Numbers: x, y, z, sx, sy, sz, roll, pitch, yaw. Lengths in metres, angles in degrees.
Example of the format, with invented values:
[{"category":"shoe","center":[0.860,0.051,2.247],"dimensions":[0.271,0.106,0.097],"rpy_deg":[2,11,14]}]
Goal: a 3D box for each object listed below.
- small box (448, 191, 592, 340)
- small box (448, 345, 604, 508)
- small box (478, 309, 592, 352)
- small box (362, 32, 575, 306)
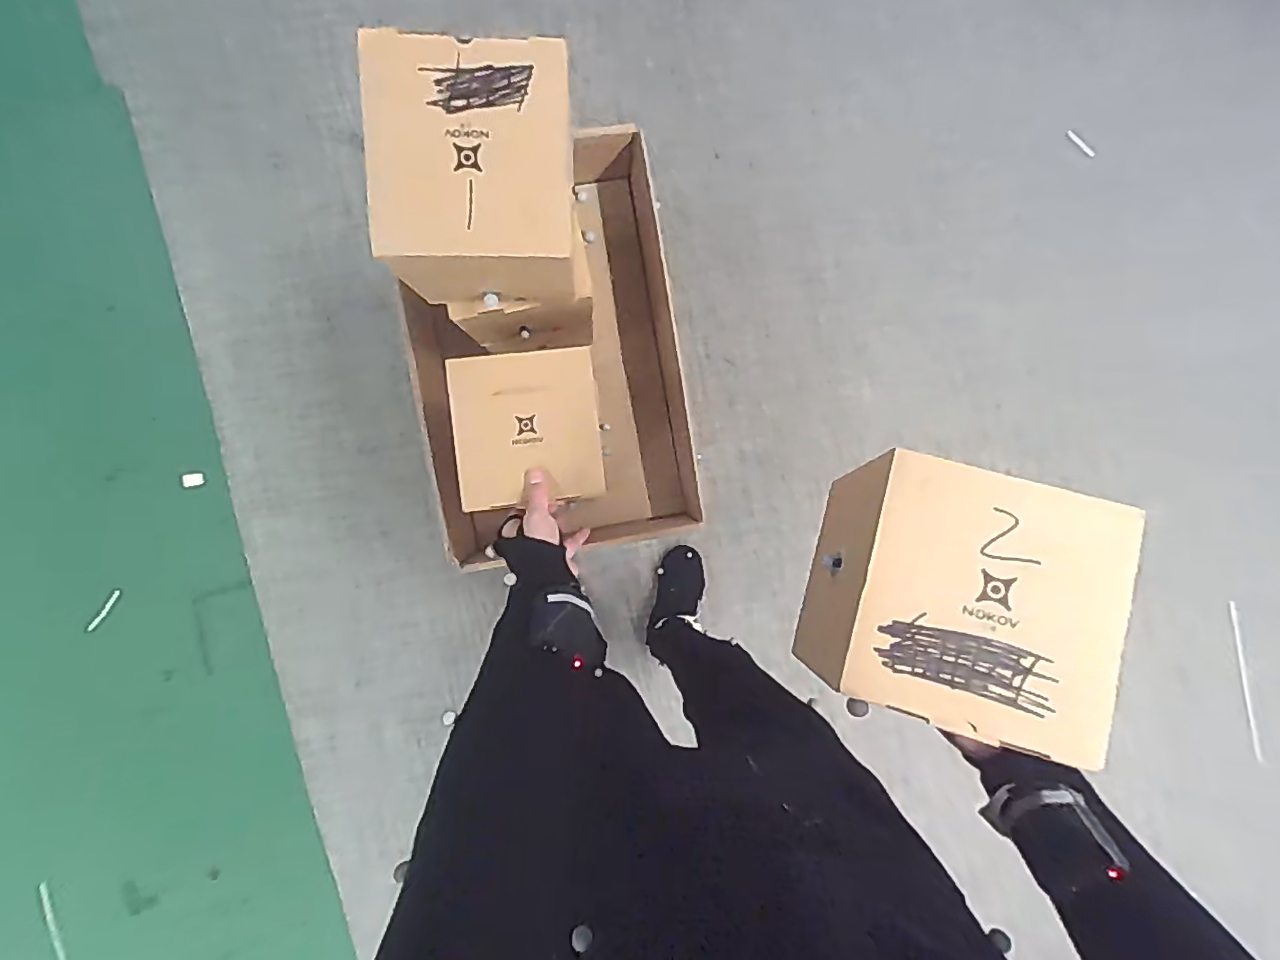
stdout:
[{"category":"small box","center":[-0.159,-0.290,0.688],"dimensions":[0.168,0.176,0.179],"rpy_deg":[-11,97,-5]},{"category":"small box","center":[-0.135,-0.064,0.698],"dimensions":[0.168,0.176,0.179],"rpy_deg":[-6,91,-5]},{"category":"small box","center":[-0.172,-0.306,0.848],"dimensions":[0.168,0.176,0.179],"rpy_deg":[-11,96,-4]},{"category":"small box","center":[-0.148,-0.279,0.524],"dimensions":[0.168,0.176,0.179],"rpy_deg":[-1,96,-5]}]
